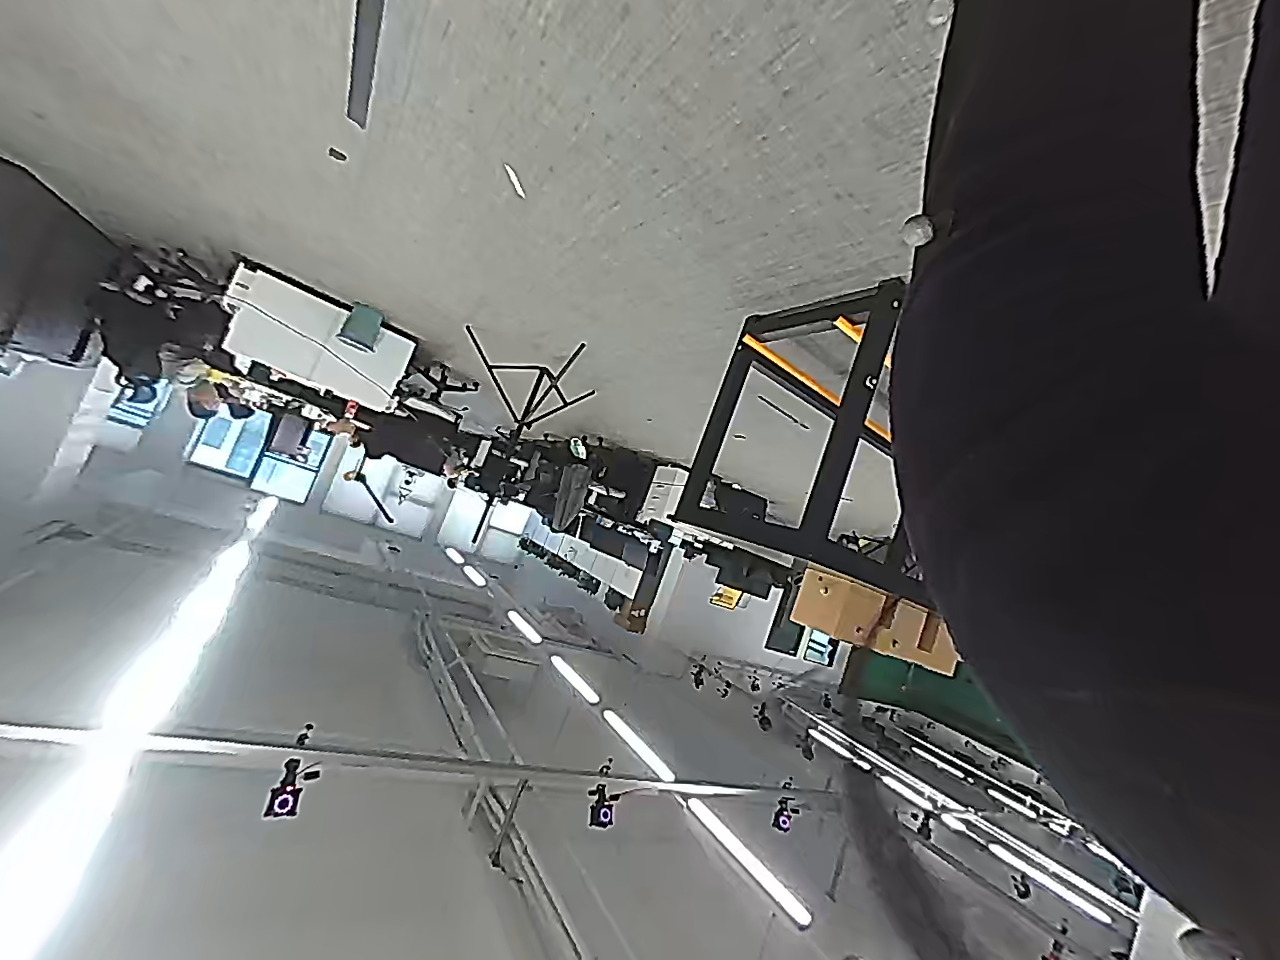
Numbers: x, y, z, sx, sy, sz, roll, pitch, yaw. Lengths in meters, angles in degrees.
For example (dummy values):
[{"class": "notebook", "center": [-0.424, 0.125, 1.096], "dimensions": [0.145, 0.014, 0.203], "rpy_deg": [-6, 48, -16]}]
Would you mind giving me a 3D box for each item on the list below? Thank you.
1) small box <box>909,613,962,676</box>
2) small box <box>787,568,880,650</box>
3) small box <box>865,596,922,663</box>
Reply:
[{"class": "small box", "center": [0.944, 0.535, 1.823], "dimensions": [0.168, 0.176, 0.179], "rpy_deg": [22, 174, -30]}, {"class": "small box", "center": [0.575, 0.377, 1.595], "dimensions": [0.179, 0.176, 0.168], "rpy_deg": [24, 173, -31]}, {"class": "small box", "center": [0.763, 0.460, 1.723], "dimensions": [0.179, 0.176, 0.168], "rpy_deg": [23, 174, -32]}]
